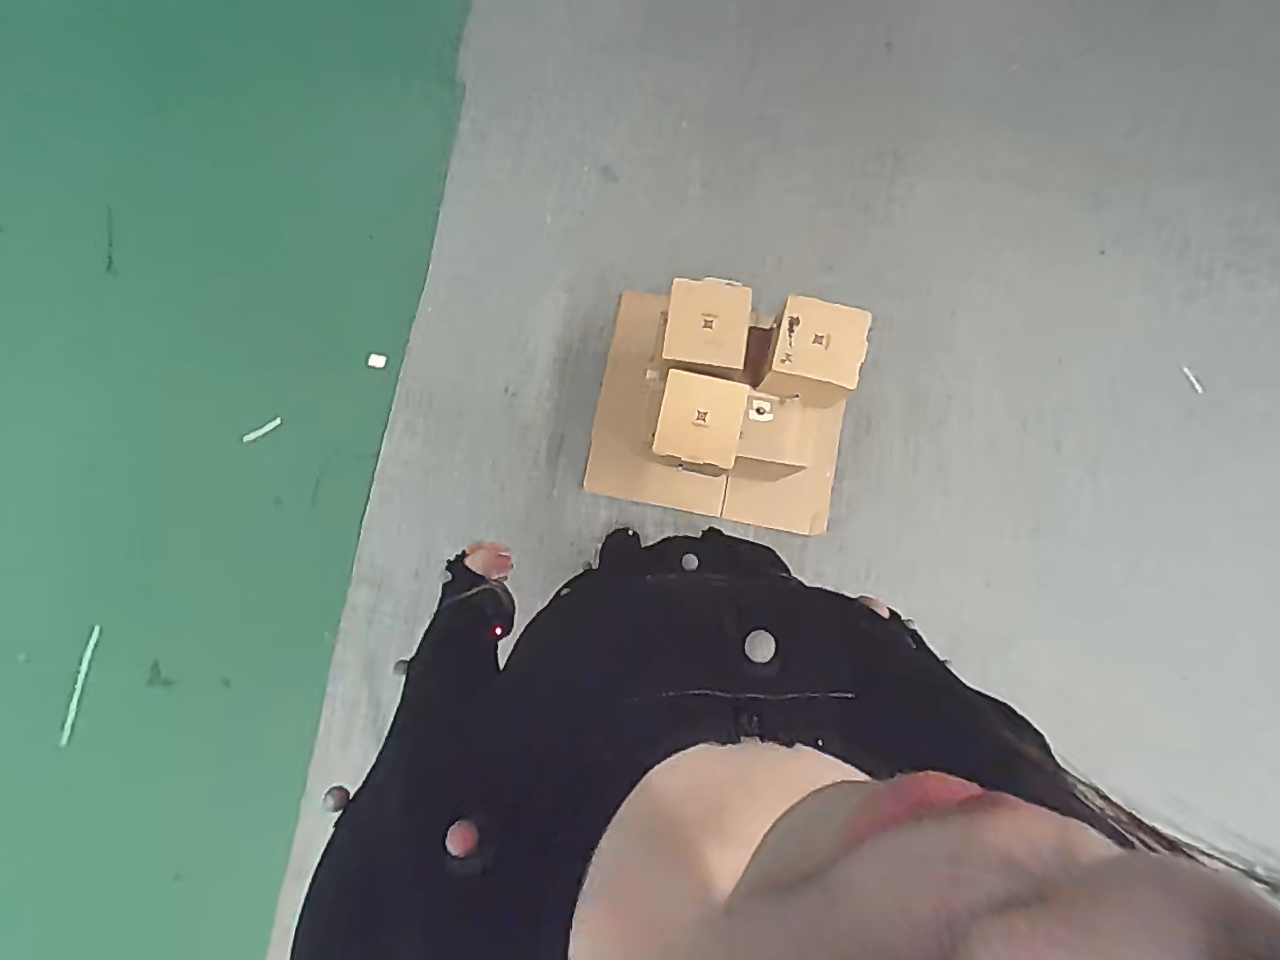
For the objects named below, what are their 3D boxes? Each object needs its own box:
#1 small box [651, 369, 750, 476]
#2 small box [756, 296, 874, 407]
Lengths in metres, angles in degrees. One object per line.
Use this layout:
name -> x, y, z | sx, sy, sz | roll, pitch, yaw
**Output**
small box -> 0.120, -0.113, 1.140 | 0.168, 0.176, 0.179 | 12, 86, 0
small box -> 0.365, -0.264, 1.157 | 0.179, 0.176, 0.168 | 15, 84, 2
